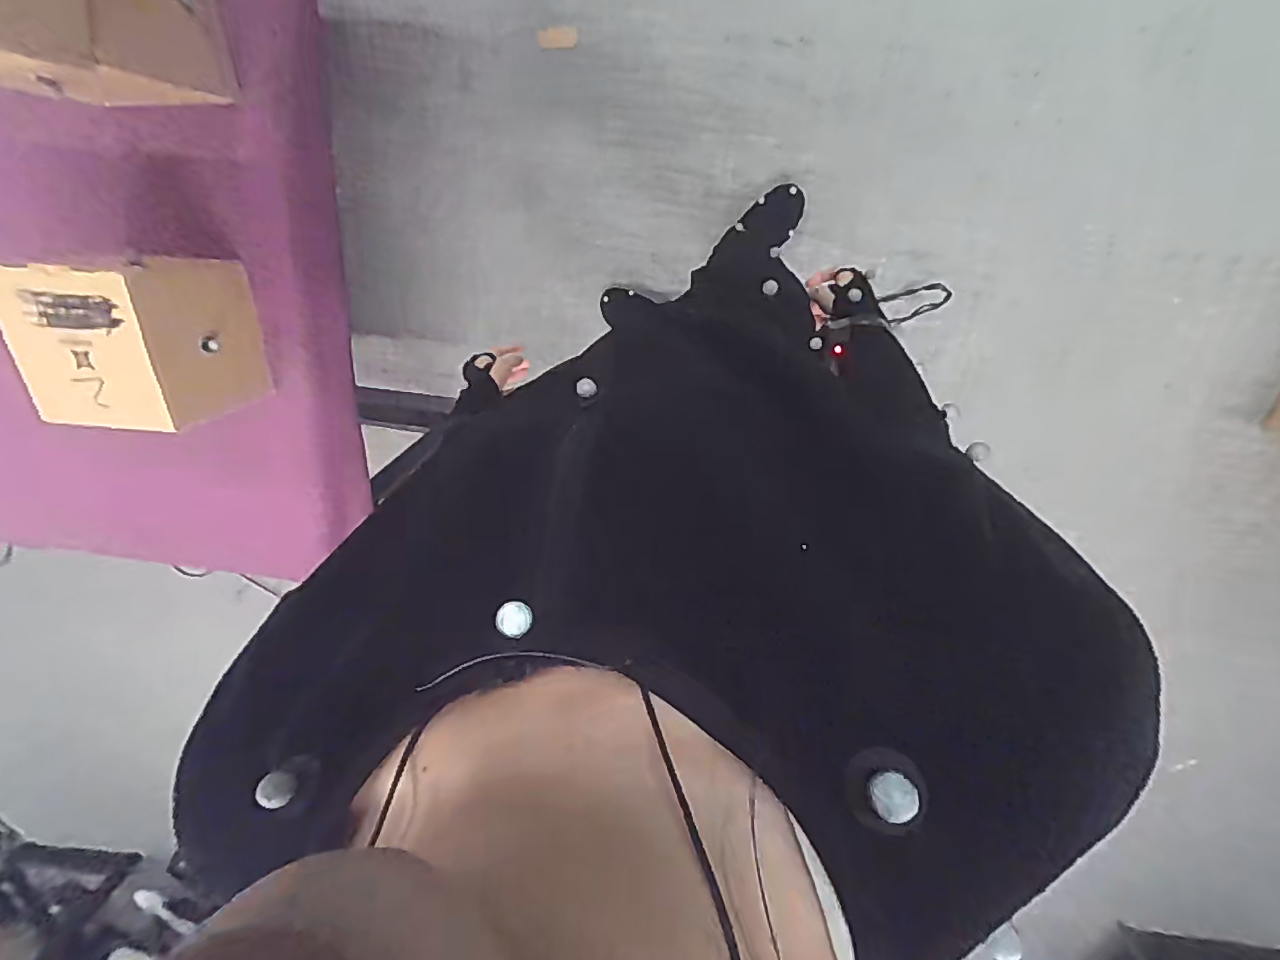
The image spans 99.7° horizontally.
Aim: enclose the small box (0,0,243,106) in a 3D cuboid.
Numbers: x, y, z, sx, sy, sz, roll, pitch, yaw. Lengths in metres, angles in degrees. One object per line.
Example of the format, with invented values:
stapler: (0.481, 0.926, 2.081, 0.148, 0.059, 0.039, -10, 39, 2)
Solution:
small box: (-0.541, -0.472, 0.517, 0.179, 0.176, 0.168, 2, 116, 5)
